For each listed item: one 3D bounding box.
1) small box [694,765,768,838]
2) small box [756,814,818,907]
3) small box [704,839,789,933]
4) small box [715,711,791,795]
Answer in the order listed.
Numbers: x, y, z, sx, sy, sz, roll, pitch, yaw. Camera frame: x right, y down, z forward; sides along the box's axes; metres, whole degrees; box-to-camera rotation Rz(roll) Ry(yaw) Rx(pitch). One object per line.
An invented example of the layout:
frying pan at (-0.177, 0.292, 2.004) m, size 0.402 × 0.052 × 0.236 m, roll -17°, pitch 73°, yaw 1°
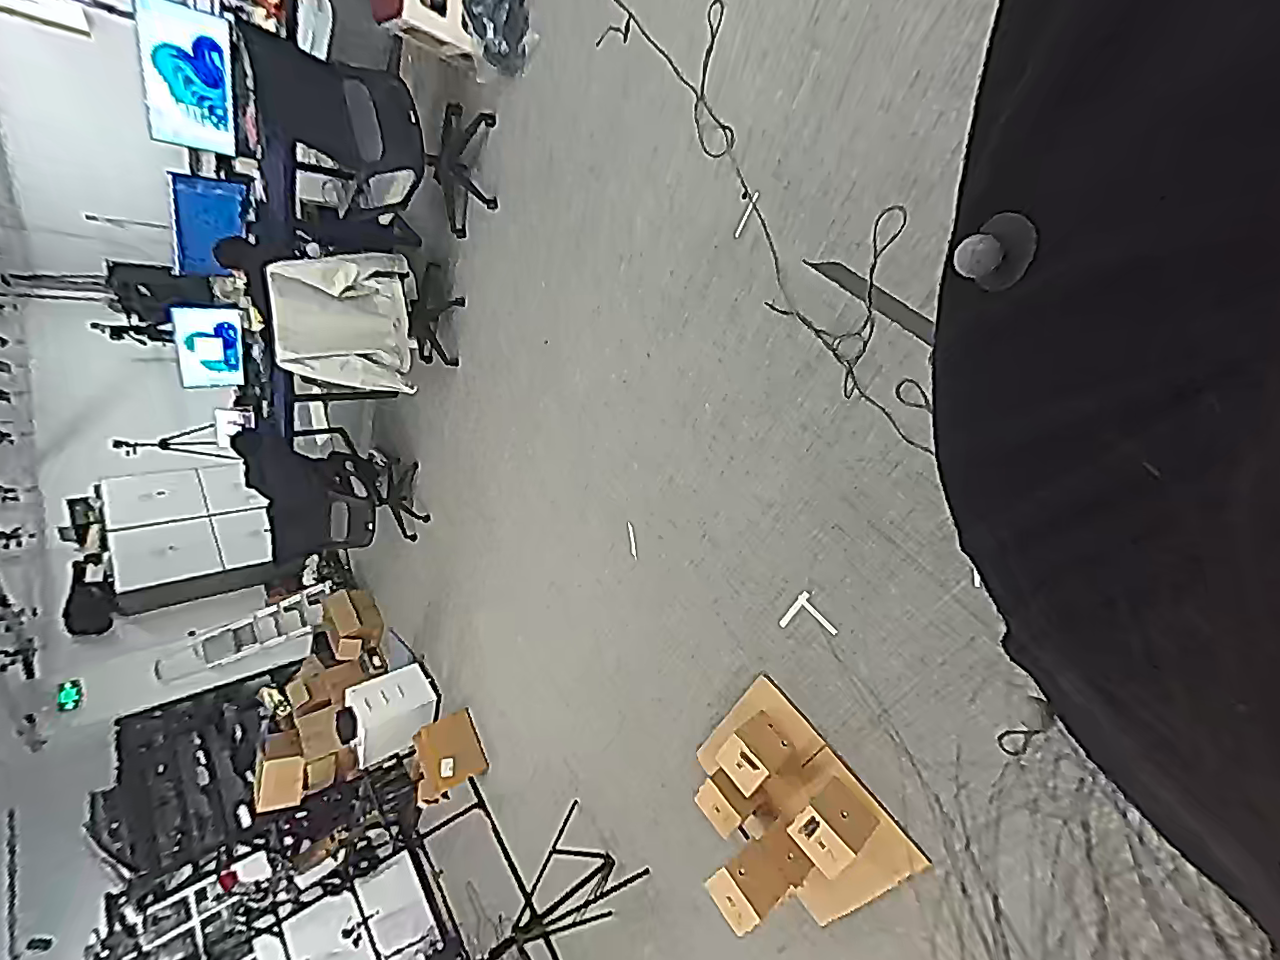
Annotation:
small box at (0.339, 1.169, 2.011) m, size 0.179 × 0.176 × 0.168 m, roll 42°, pitch 128°, yaw 32°
small box at (0.486, 1.317, 1.882) m, size 0.179 × 0.176 × 0.168 m, roll 42°, pitch 127°, yaw 31°
small box at (0.352, 1.328, 1.783) m, size 0.179 × 0.176 × 0.168 m, roll 46°, pitch 130°, yaw 30°
small box at (0.401, 0.946, 1.888) m, size 0.168 × 0.176 × 0.179 m, roll 44°, pitch 128°, yaw 32°
